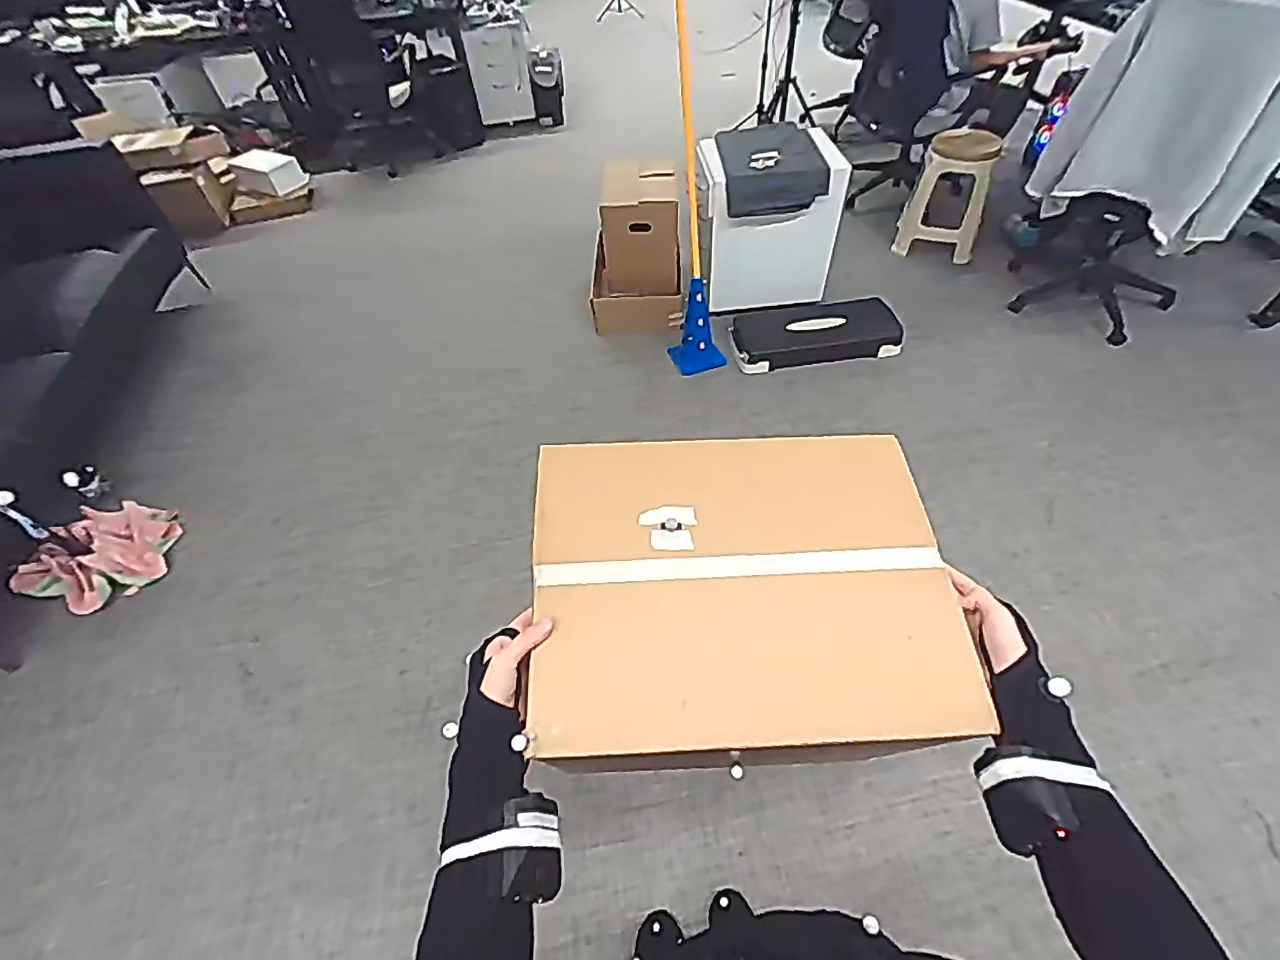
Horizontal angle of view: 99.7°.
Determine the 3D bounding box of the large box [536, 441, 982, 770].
[{"bbox_3d":[0.101,0.172,0.675,0.408,0.320,0.320,-3,59,-1],"label":"large box"}]
